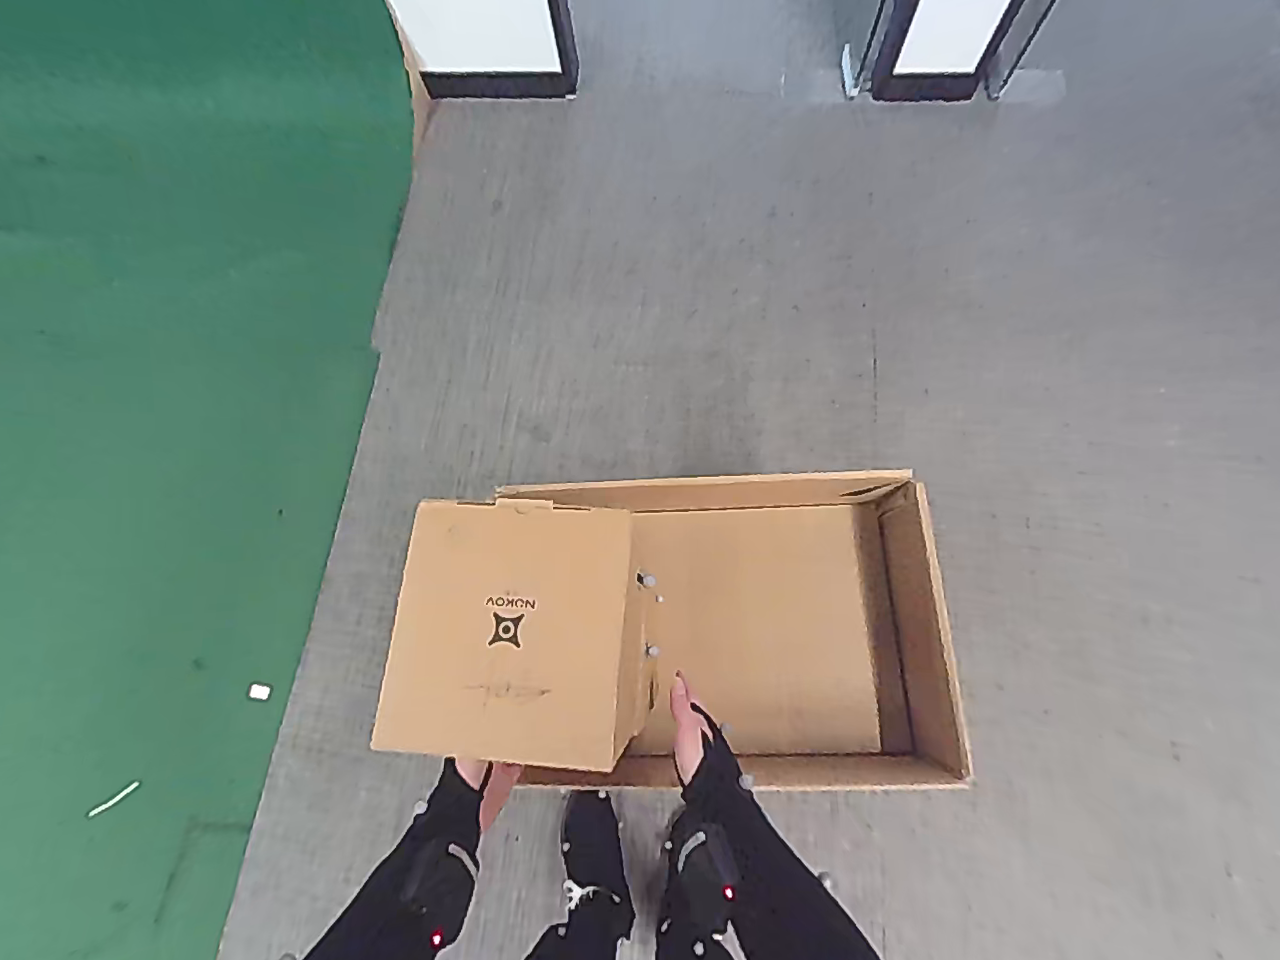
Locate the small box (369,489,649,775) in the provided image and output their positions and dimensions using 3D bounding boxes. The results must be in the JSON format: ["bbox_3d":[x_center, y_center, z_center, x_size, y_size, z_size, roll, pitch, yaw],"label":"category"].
[{"bbox_3d":[-0.083,0.118,0.443,0.168,0.176,0.179,4,74,6],"label":"small box"}]
